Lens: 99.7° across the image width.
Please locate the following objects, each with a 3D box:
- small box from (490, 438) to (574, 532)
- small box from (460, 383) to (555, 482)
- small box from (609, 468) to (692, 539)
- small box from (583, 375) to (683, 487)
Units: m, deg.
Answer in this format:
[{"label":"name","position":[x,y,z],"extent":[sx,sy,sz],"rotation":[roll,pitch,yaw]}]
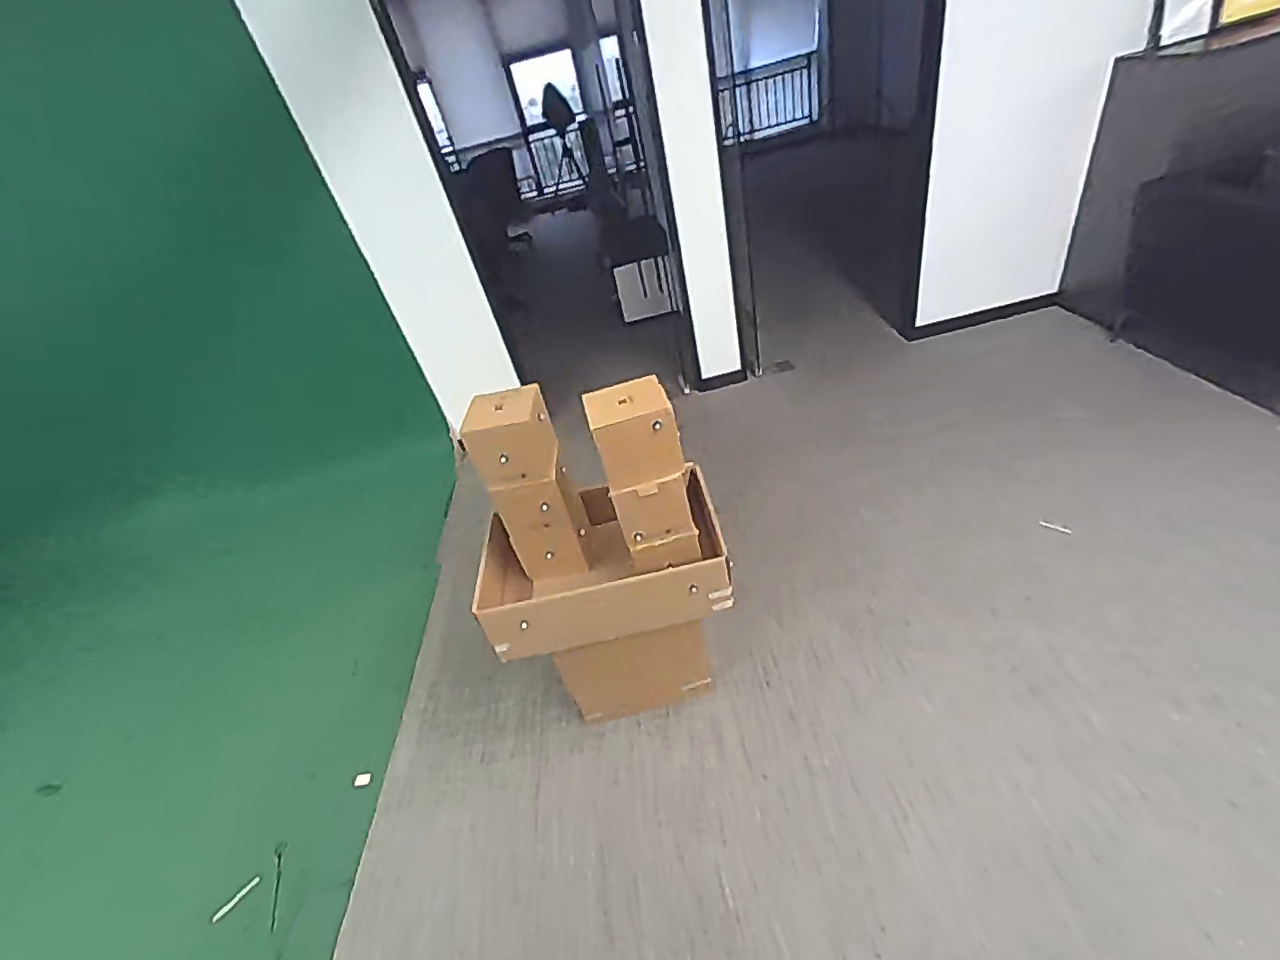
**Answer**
[{"label":"small box","position":[-0.272,0.020,1.407],"extent":[0.168,0.176,0.179],"rotation":[-11,37,4]},{"label":"small box","position":[-0.310,-0.109,1.311],"extent":[0.168,0.176,0.179],"rotation":[-9,37,5]},{"label":"small box","position":[0.020,0.022,1.296],"extent":[0.168,0.176,0.179],"rotation":[-15,37,1]},{"label":"small box","position":[-0.015,-0.108,1.206],"extent":[0.179,0.176,0.168],"rotation":[-16,37,-2]}]
